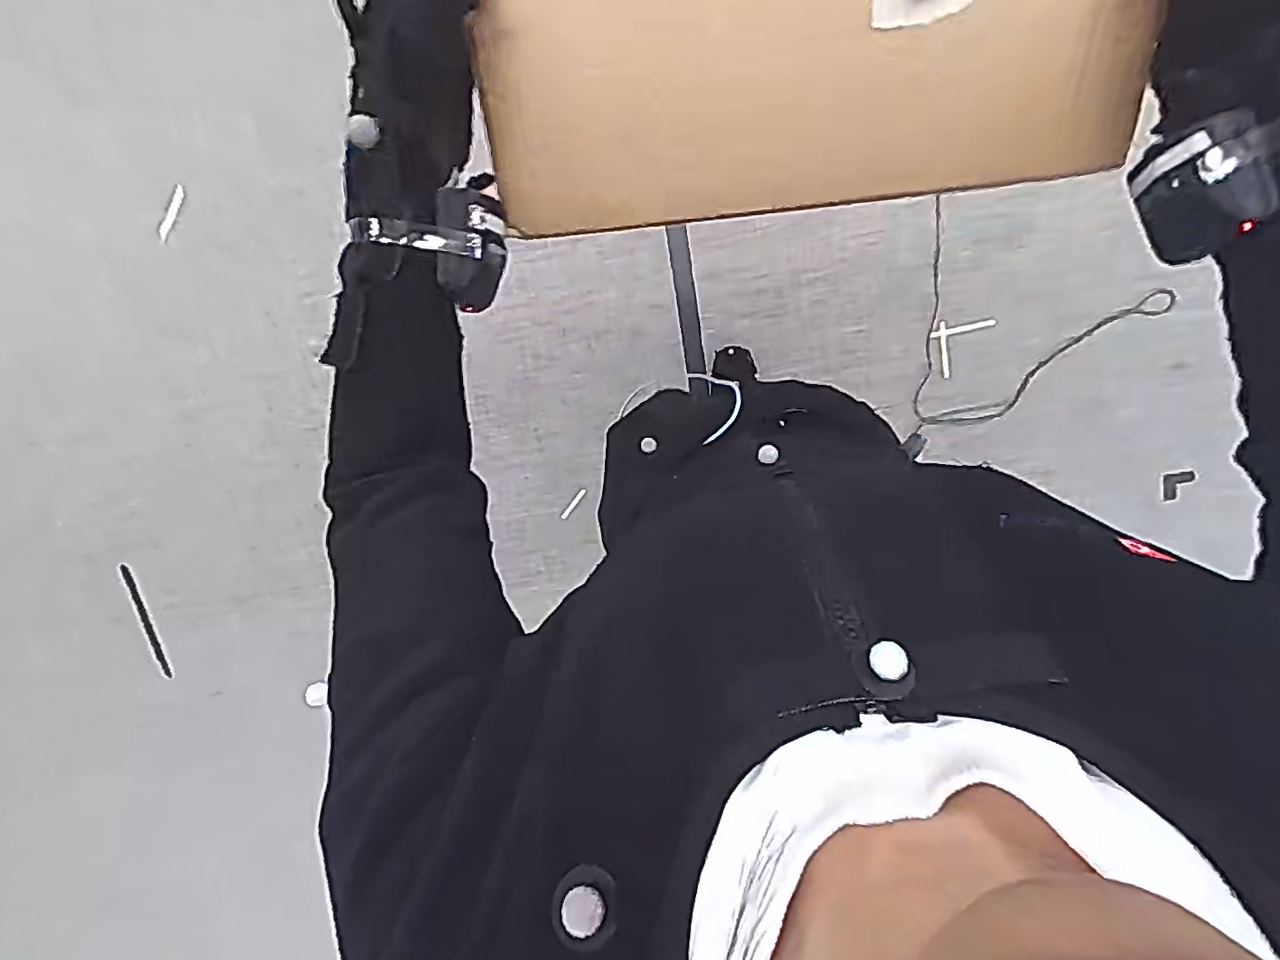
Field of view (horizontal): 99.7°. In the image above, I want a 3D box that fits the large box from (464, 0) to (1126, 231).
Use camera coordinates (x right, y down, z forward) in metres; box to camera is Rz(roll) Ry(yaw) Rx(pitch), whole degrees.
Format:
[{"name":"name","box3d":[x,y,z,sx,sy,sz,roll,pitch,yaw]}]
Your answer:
[{"name":"large box","box3d":[0.088,-0.401,0.443,0.408,0.320,0.320,-6,115,5]}]
